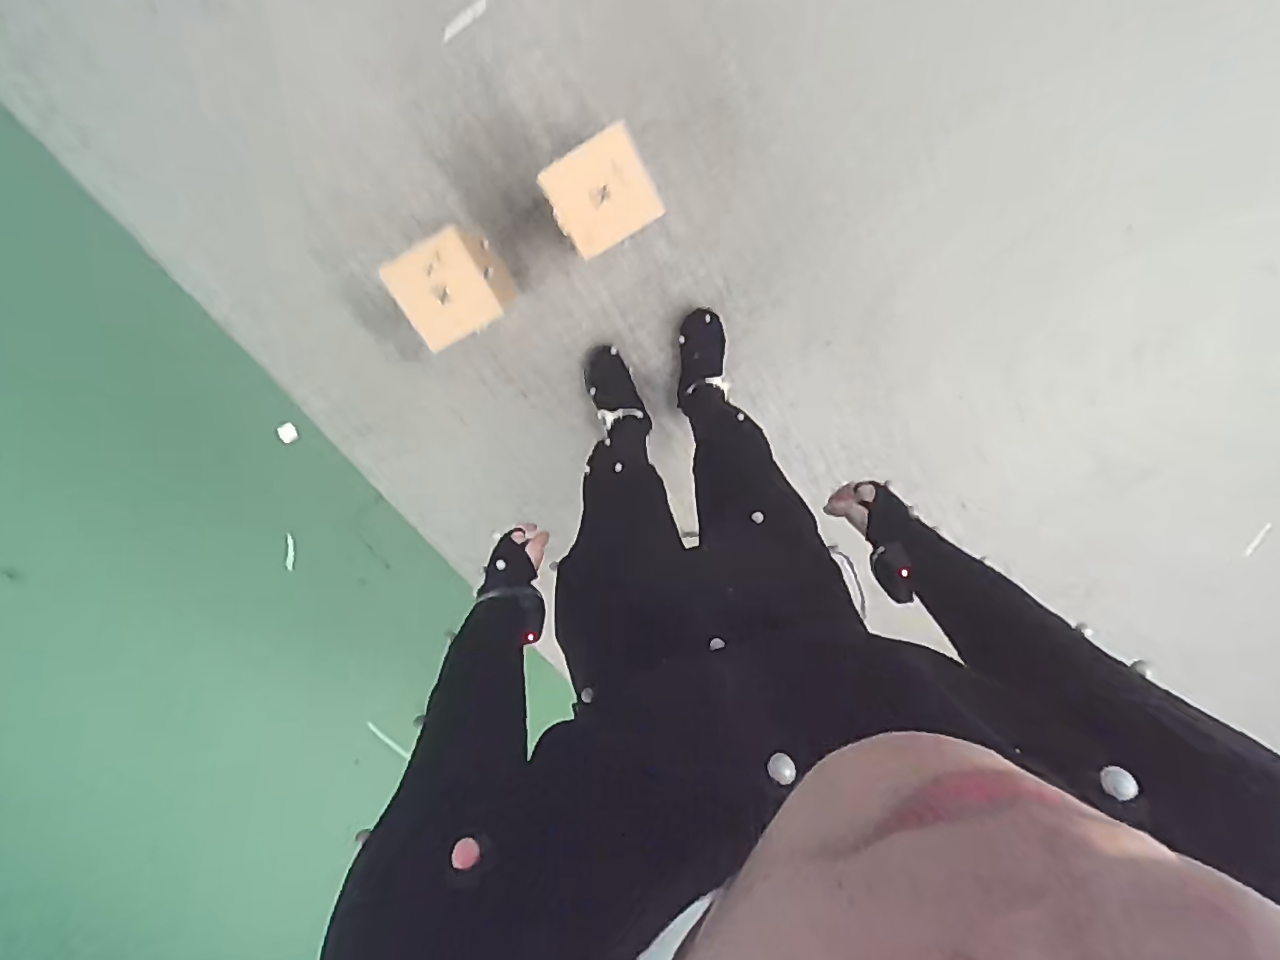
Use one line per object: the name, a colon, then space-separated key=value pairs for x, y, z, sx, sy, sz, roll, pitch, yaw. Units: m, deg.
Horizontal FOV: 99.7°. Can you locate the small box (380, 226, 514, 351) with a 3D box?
small box: x=-0.373 y=-0.387 z=1.085 sx=0.168 sy=0.176 sz=0.179 roll=-27 pitch=113 yaw=7

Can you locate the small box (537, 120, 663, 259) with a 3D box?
small box: x=-0.073 y=-0.544 z=1.039 sx=0.179 sy=0.176 sz=0.168 roll=-29 pitch=113 yaw=8

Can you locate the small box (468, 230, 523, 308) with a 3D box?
small box: x=-0.387 y=-0.450 z=1.237 sx=0.168 sy=0.176 sz=0.179 roll=-28 pitch=112 yaw=8
